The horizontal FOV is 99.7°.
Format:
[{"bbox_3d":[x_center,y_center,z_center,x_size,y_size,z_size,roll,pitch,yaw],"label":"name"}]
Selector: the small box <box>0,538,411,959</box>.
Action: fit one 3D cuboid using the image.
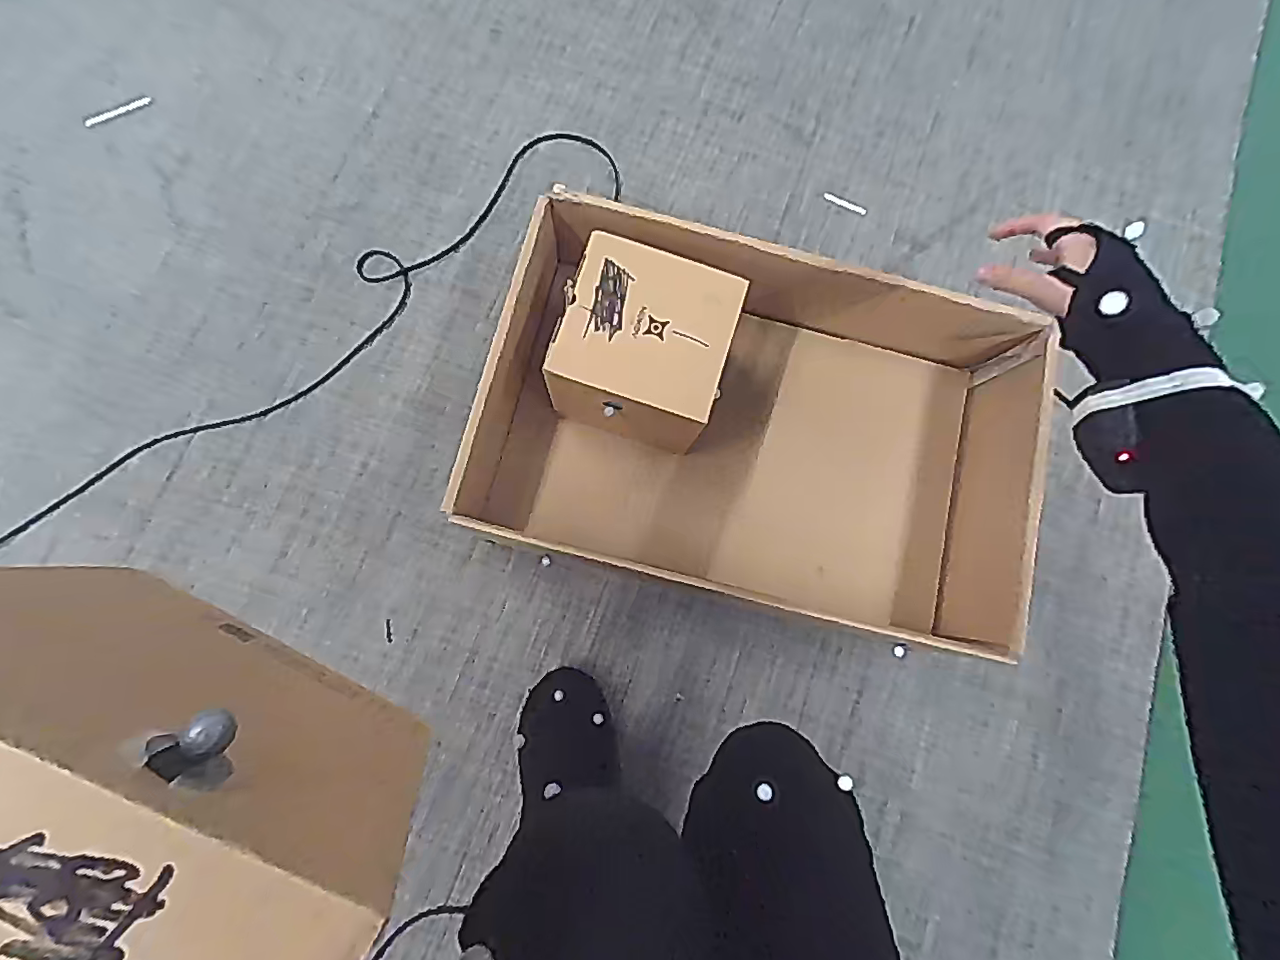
[{"bbox_3d":[-0.193,0.133,0.167,0.168,0.176,0.179,35,73,-11],"label":"small box"}]
